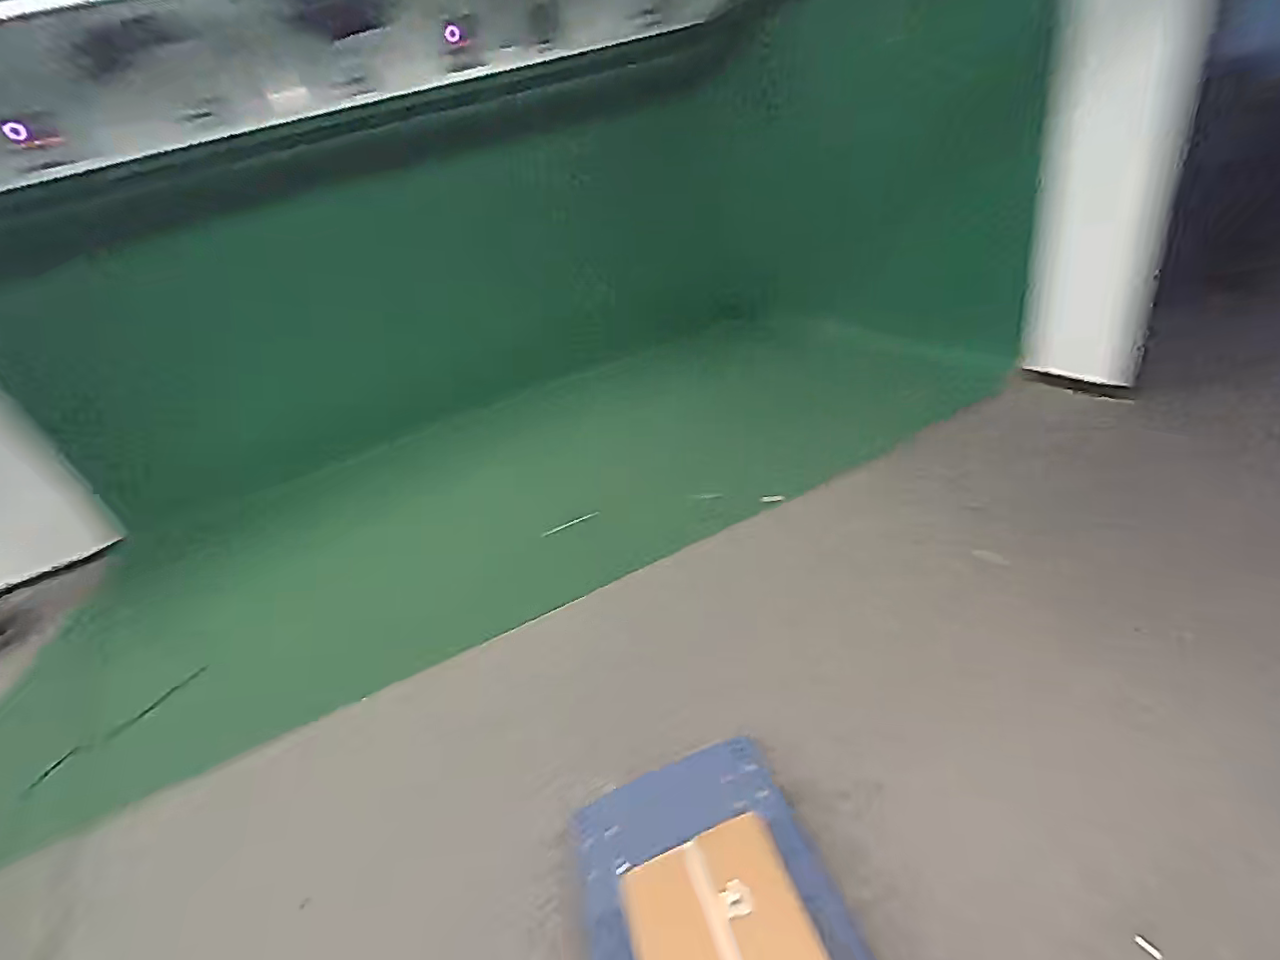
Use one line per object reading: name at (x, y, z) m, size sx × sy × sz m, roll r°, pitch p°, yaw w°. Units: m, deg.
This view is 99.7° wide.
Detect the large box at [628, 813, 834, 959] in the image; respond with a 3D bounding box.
large box at (0.207, 0.972, 1.041) m, size 0.320 × 0.320 × 0.408 m, roll -19°, pitch 29°, yaw -7°
